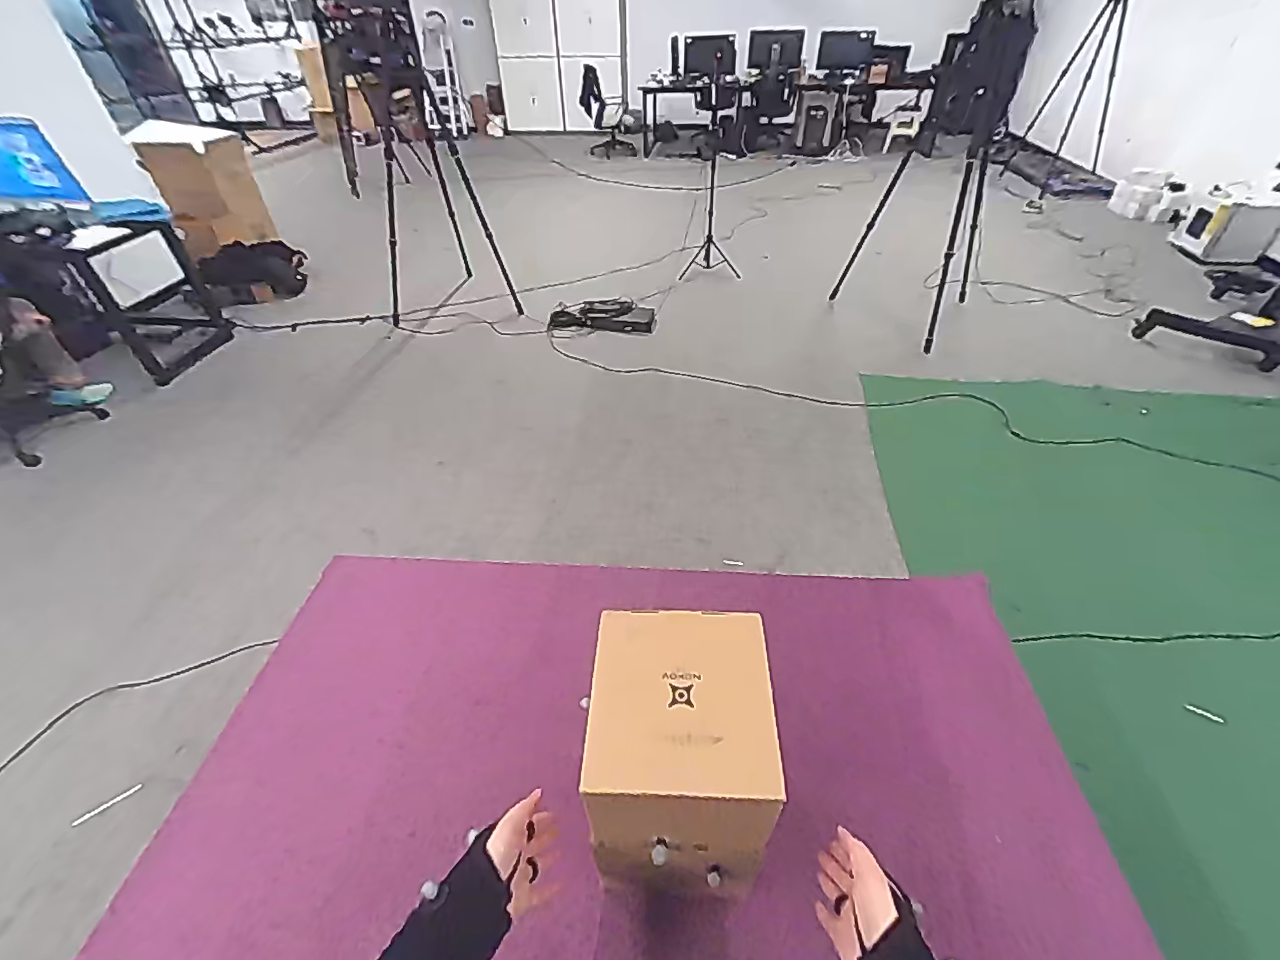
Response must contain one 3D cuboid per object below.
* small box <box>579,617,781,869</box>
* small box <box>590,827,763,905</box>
[{"bbox_3d":[0.038,0.262,0.546,0.168,0.176,0.179,0,42,4],"label":"small box"},{"bbox_3d":[0.044,0.387,0.650,0.179,0.176,0.168,2,40,5],"label":"small box"}]
